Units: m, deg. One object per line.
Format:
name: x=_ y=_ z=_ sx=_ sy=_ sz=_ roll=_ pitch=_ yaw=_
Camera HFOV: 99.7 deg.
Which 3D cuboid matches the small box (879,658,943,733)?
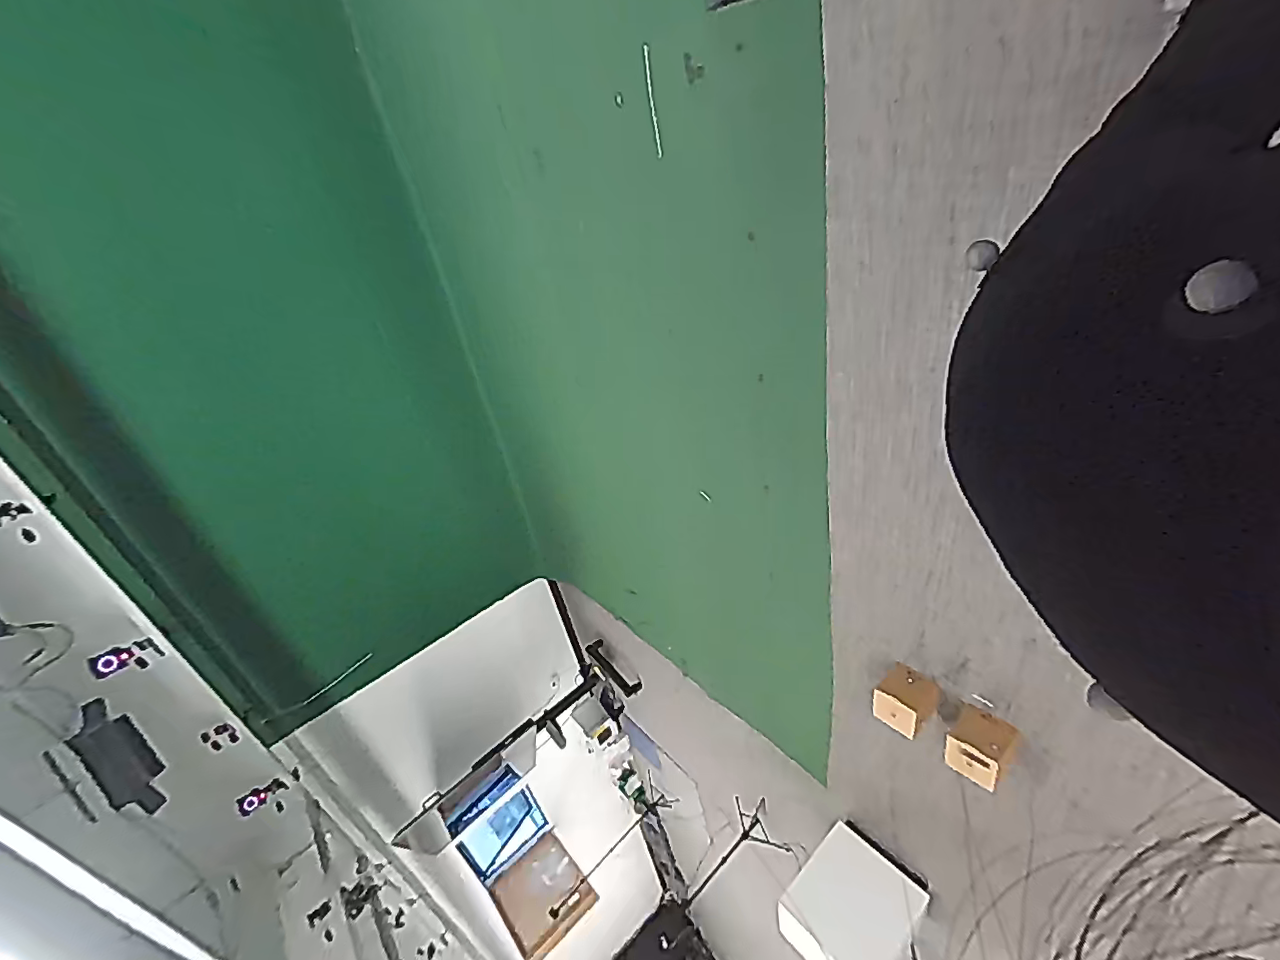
small box: x=1.062 y=0.839 z=2.118 sx=0.168 sy=0.176 sz=0.179 roll=26 pitch=137 yaw=45
